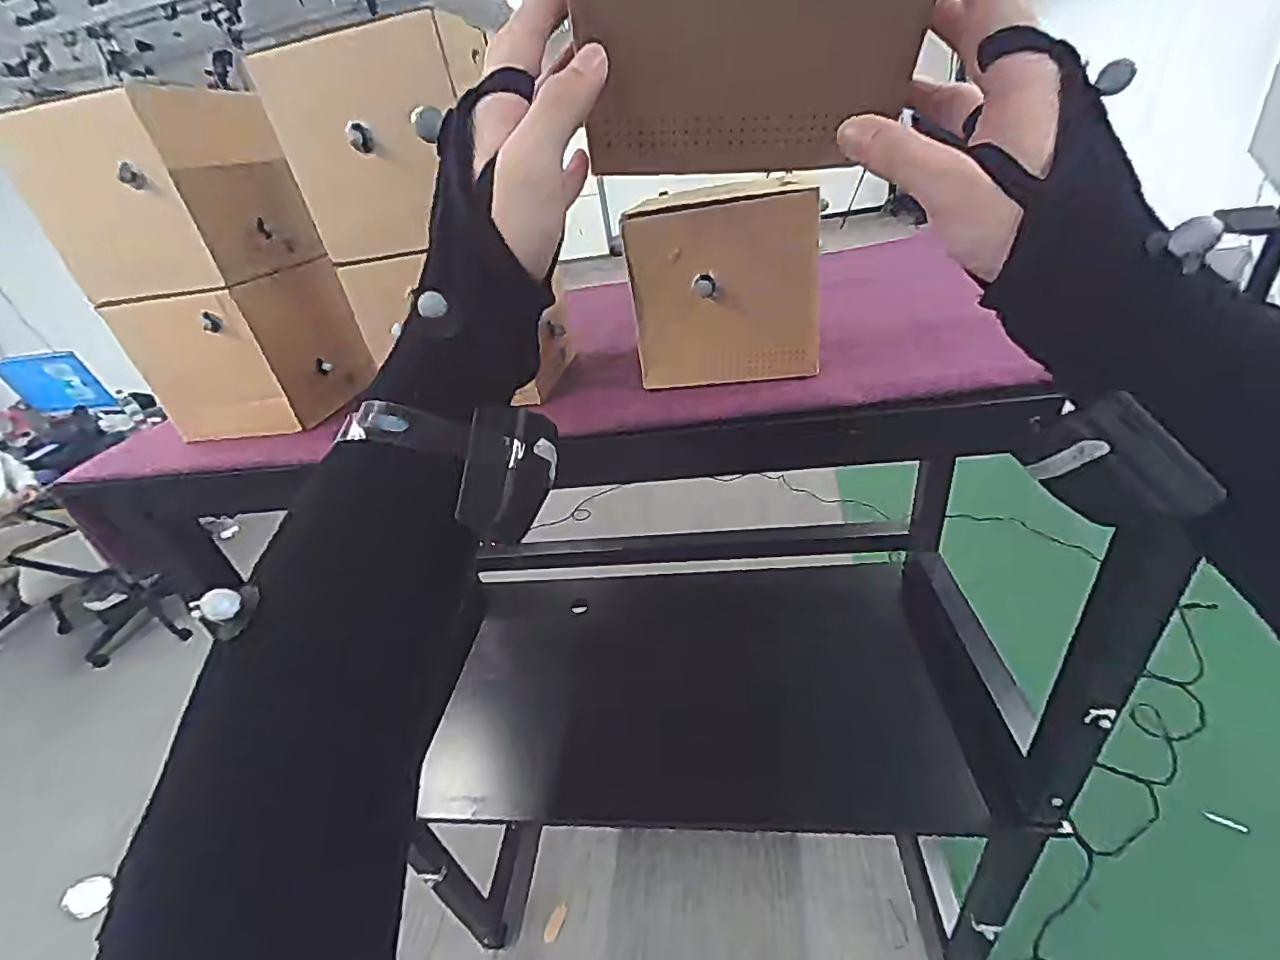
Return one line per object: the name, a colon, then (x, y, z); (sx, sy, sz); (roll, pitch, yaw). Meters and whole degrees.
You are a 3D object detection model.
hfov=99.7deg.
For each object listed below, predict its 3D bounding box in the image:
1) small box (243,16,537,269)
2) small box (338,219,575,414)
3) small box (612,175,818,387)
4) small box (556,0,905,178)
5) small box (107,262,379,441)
small box: (-0.220, -0.322, 0.536); (0.179, 0.176, 0.168); (-5, 32, 13)
small box: (-0.193, -0.186, 0.624); (0.179, 0.176, 0.168); (-4, 33, 12)
small box: (0.086, -0.208, 0.570); (0.179, 0.176, 0.168); (-5, 33, 13)
small box: (0.048, -0.292, 0.298); (0.179, 0.176, 0.168); (2, 62, 7)
small box: (-0.469, -0.157, 0.671); (0.179, 0.176, 0.168); (-3, 33, 11)
